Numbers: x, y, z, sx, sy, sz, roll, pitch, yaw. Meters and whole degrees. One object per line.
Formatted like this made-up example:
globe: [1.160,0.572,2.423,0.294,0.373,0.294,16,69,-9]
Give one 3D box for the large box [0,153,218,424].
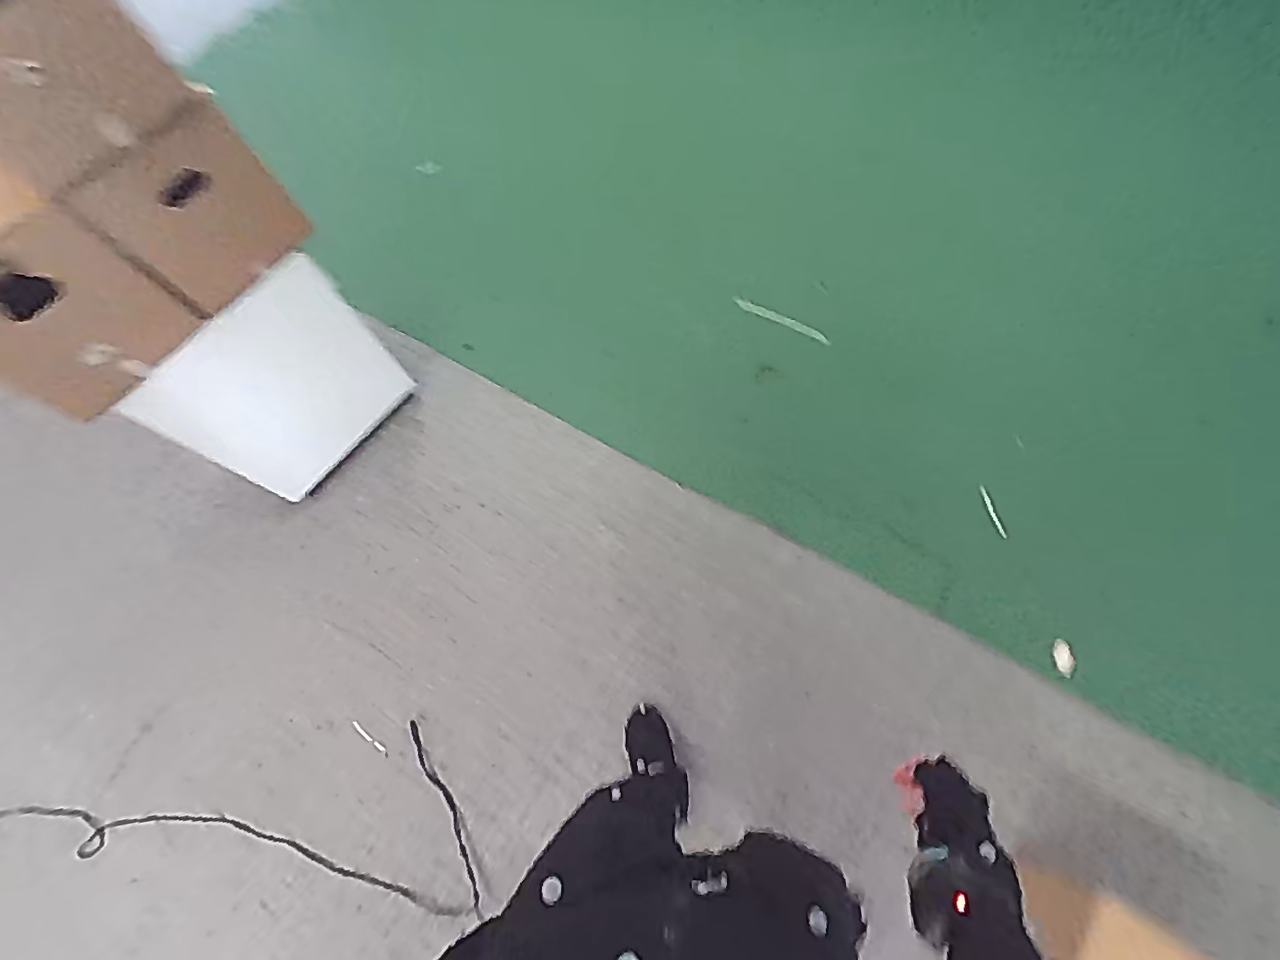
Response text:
large box: [-1.184,-0.380,1.082,0.408,0.320,0.320,32,73,20]
